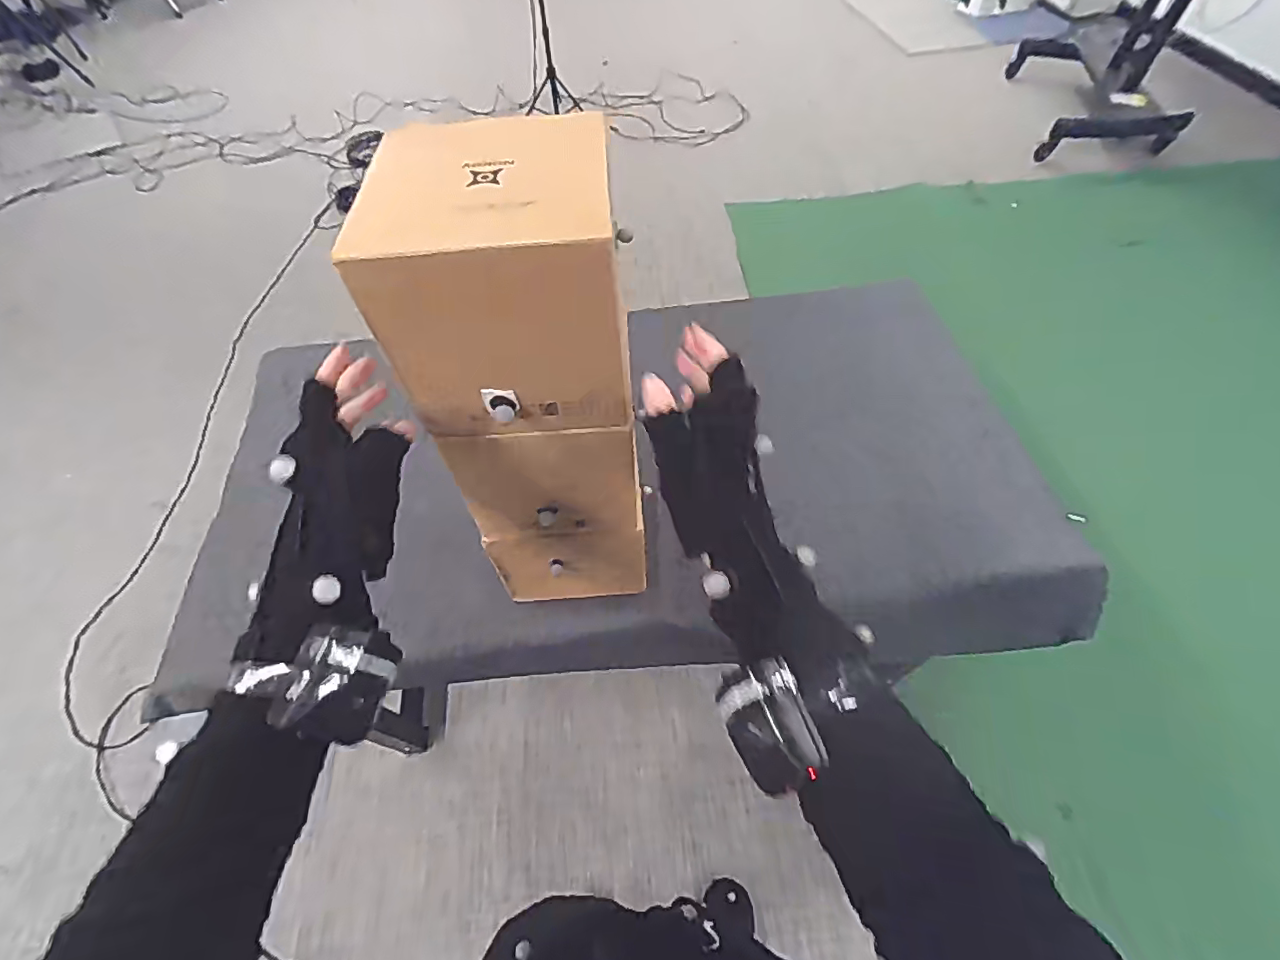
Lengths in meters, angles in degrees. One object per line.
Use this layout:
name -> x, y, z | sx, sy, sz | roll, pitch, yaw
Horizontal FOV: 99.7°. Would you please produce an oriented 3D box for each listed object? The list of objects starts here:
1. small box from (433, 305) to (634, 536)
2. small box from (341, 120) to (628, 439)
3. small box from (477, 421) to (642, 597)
small box -> -0.092, -0.059, 0.560 | 0.168, 0.176, 0.179 | -2, 55, 0
small box -> -0.098, -0.154, 0.430 | 0.168, 0.176, 0.179 | -4, 56, 0
small box -> -0.090, 0.041, 0.691 | 0.179, 0.176, 0.168 | -3, 55, -1
